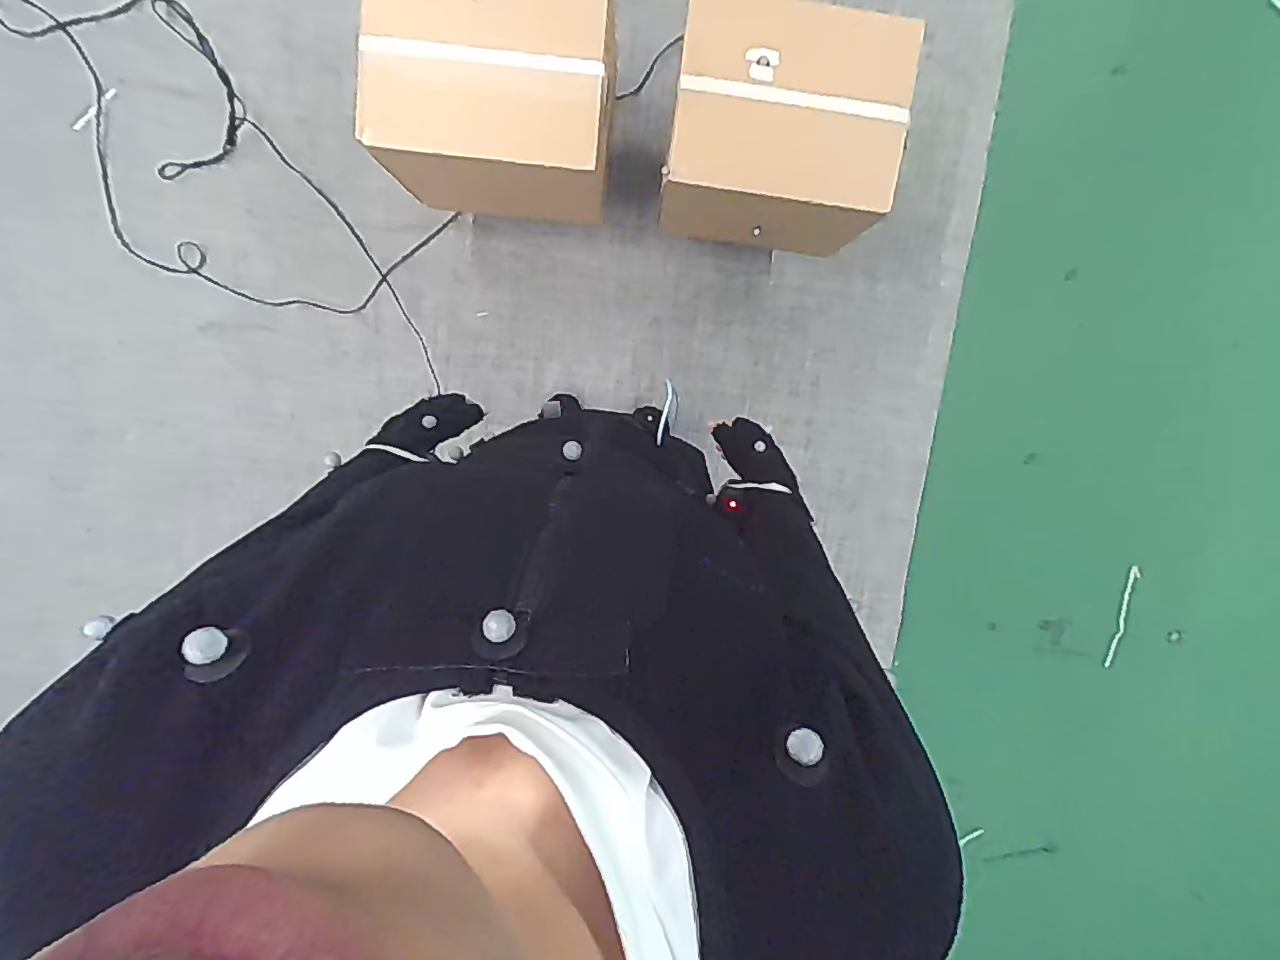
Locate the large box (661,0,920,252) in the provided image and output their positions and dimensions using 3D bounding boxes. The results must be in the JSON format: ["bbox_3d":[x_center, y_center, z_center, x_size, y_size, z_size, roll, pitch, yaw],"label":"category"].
[{"bbox_3d":[0.267,-0.677,1.090,0.408,0.320,0.320,8,98,-2],"label":"large box"}]
